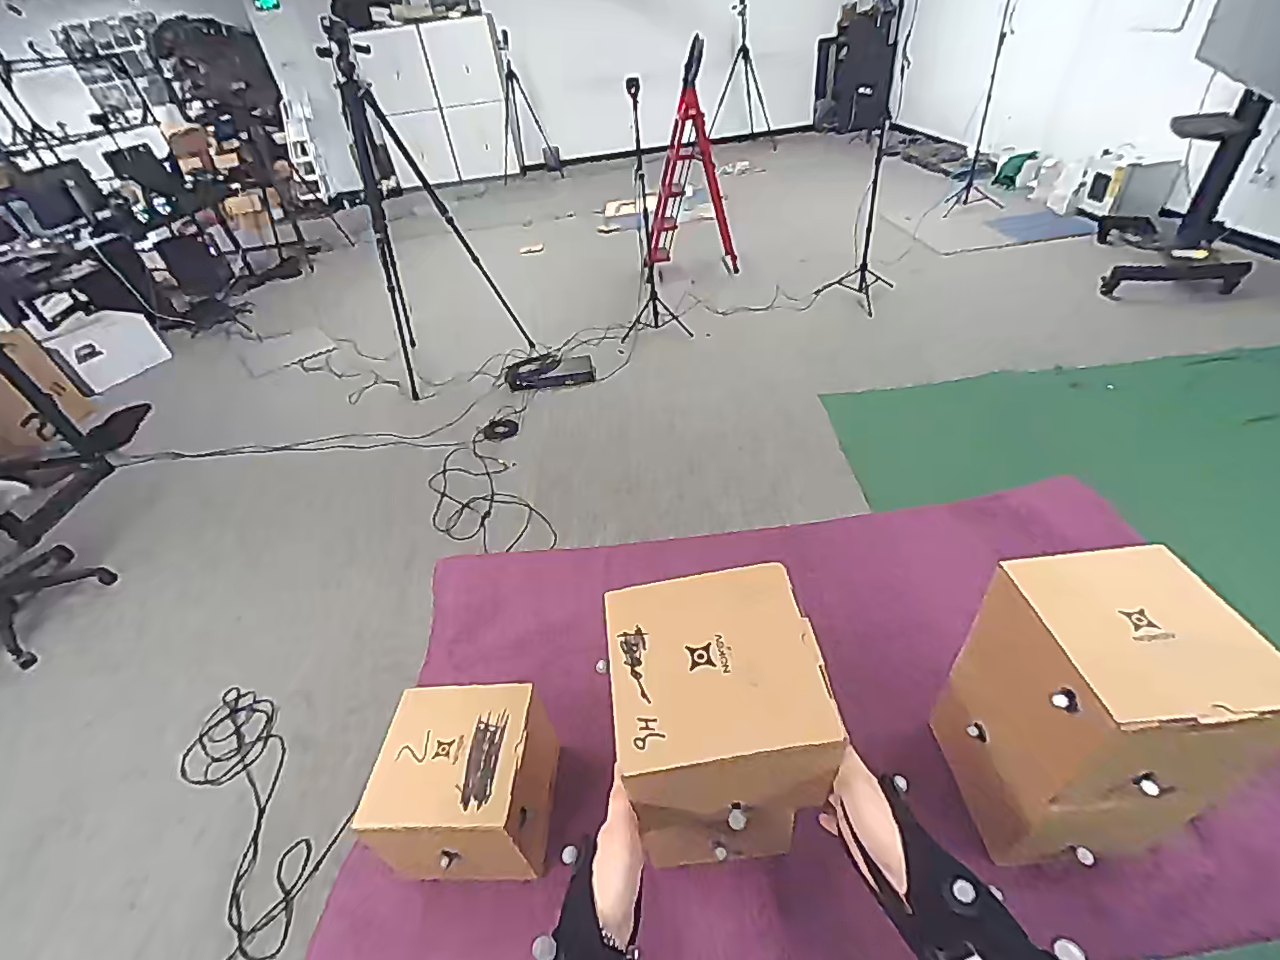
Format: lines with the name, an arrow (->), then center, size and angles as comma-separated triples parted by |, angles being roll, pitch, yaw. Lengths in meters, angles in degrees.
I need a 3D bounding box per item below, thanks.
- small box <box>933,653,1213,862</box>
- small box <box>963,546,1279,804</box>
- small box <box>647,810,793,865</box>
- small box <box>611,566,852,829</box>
small box -> 0.477, 0.319, 0.638 | 0.168, 0.176, 0.179 | -6, 40, 3
small box -> 0.460, 0.191, 0.538 | 0.168, 0.176, 0.179 | -7, 40, 2
small box -> 0.084, 0.344, 0.674 | 0.168, 0.176, 0.179 | -8, 38, 1
small box -> 0.072, 0.206, 0.509 | 0.179, 0.176, 0.168 | -9, 43, 0
